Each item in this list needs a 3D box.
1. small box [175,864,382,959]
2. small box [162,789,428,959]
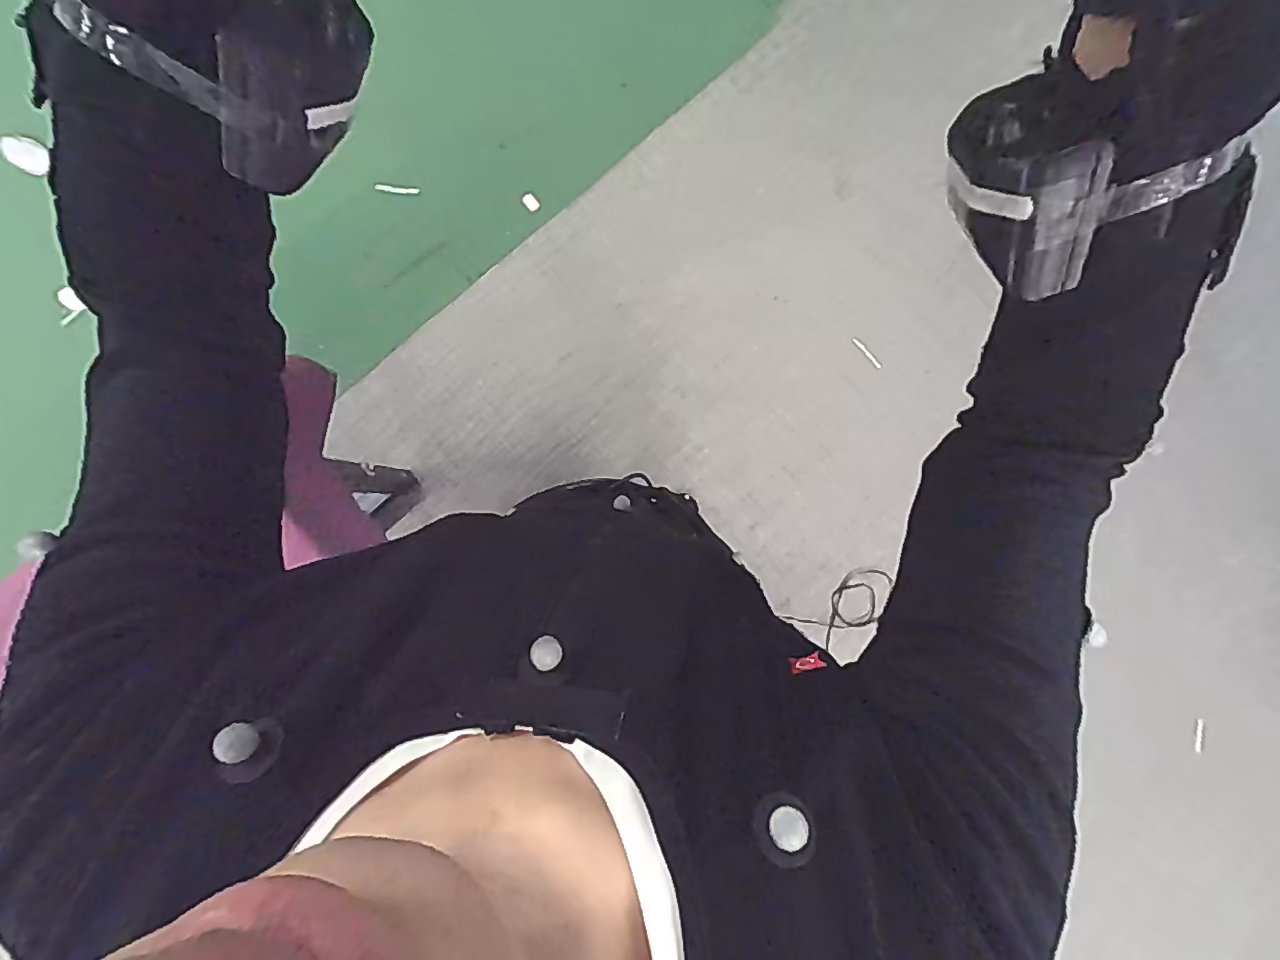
[{"bbox_3d":[-0.372,0.511,0.486,0.179,0.176,0.168,-39,90,-3],"label":"small box"},{"bbox_3d":[-0.392,0.525,0.649,0.179,0.176,0.168,-37,90,-3],"label":"small box"}]
